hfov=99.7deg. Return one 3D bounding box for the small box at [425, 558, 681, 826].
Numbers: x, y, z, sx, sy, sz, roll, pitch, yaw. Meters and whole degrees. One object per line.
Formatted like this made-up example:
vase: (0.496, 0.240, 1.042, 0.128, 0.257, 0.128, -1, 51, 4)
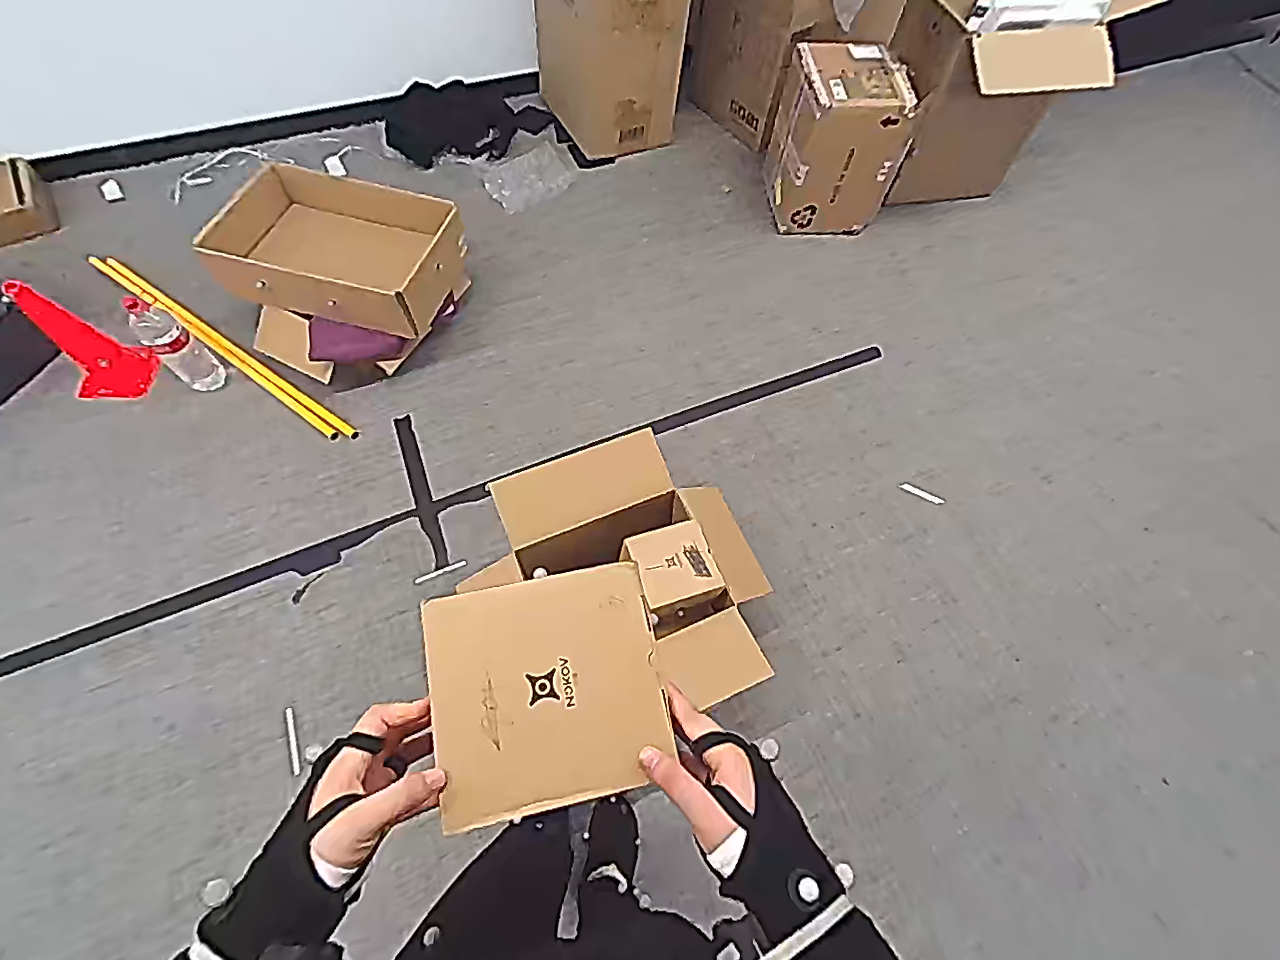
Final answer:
small box: (-0.075, 0.182, 0.492, 0.179, 0.176, 0.168, -12, 70, -7)
